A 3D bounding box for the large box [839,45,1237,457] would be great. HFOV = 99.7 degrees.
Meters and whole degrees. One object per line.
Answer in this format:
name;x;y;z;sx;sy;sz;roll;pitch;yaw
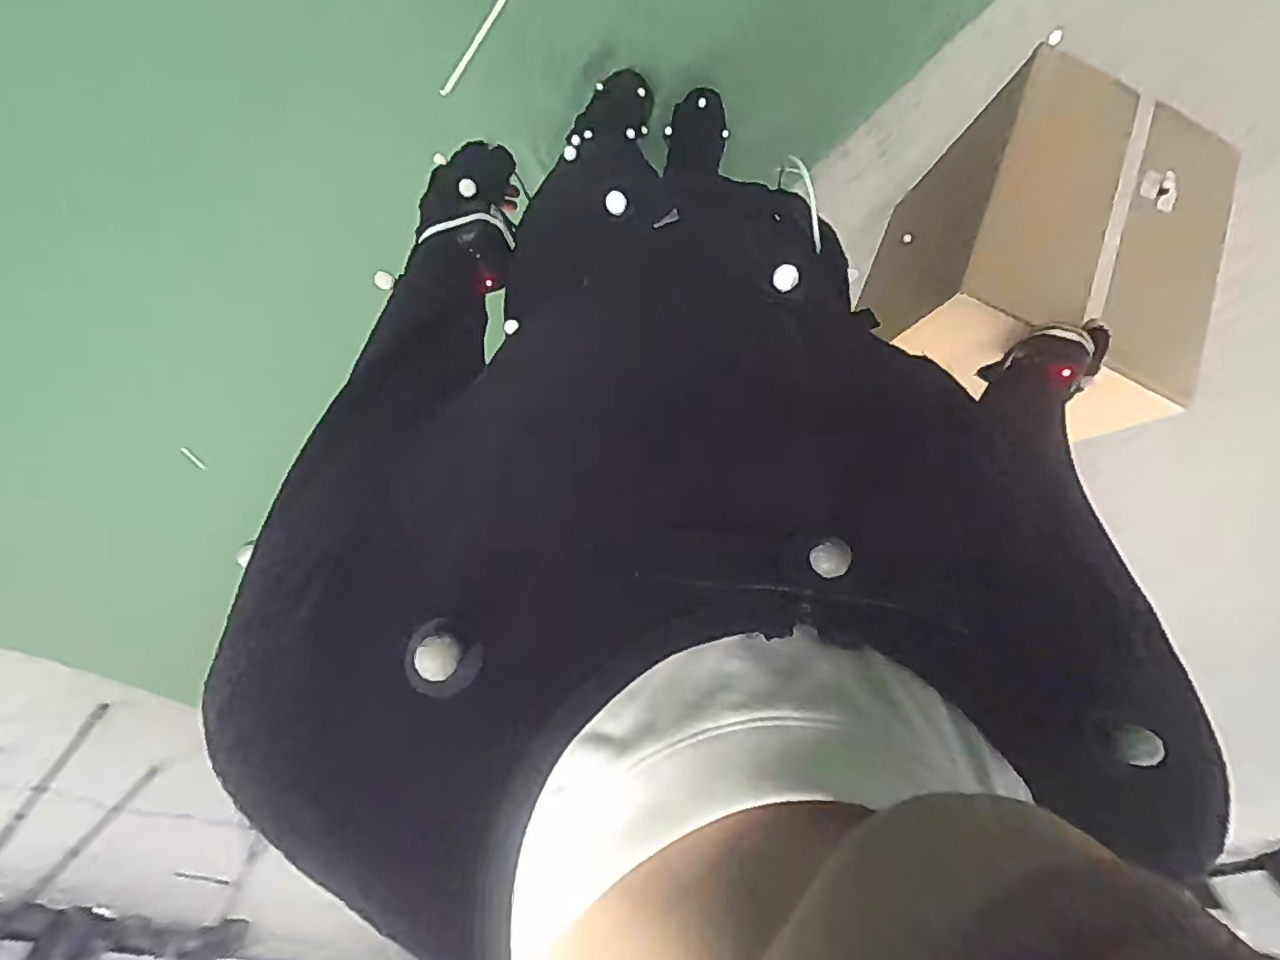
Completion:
large box;0.556;-0.299;0.806;0.320;0.408;0.320;25;166;-4
